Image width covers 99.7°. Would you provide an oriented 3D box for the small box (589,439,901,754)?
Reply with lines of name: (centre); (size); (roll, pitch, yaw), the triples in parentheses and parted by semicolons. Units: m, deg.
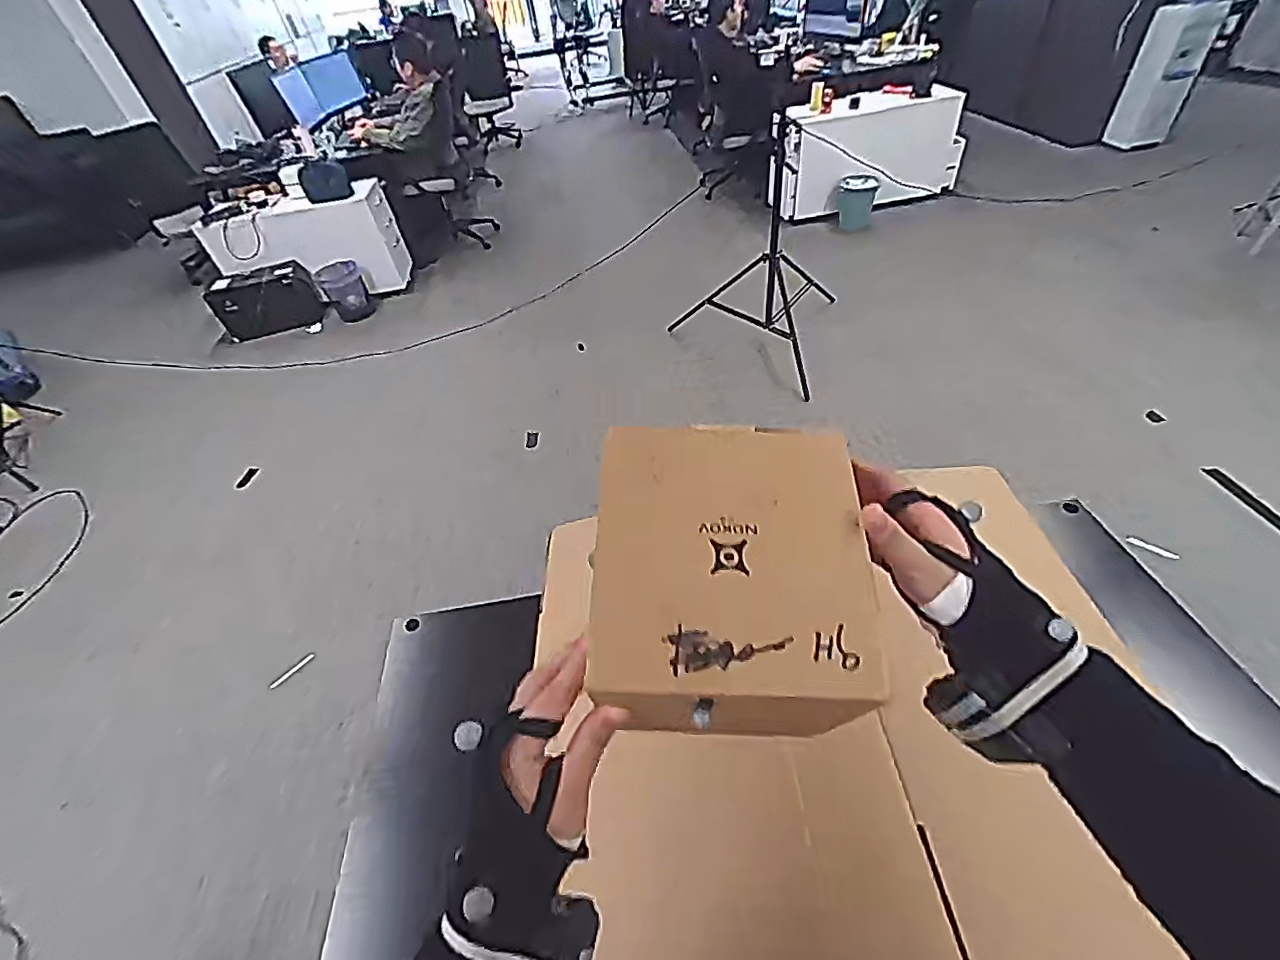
small box: (0.061, 0.089, 0.394); (0.168, 0.176, 0.179); (0, 57, 4)
